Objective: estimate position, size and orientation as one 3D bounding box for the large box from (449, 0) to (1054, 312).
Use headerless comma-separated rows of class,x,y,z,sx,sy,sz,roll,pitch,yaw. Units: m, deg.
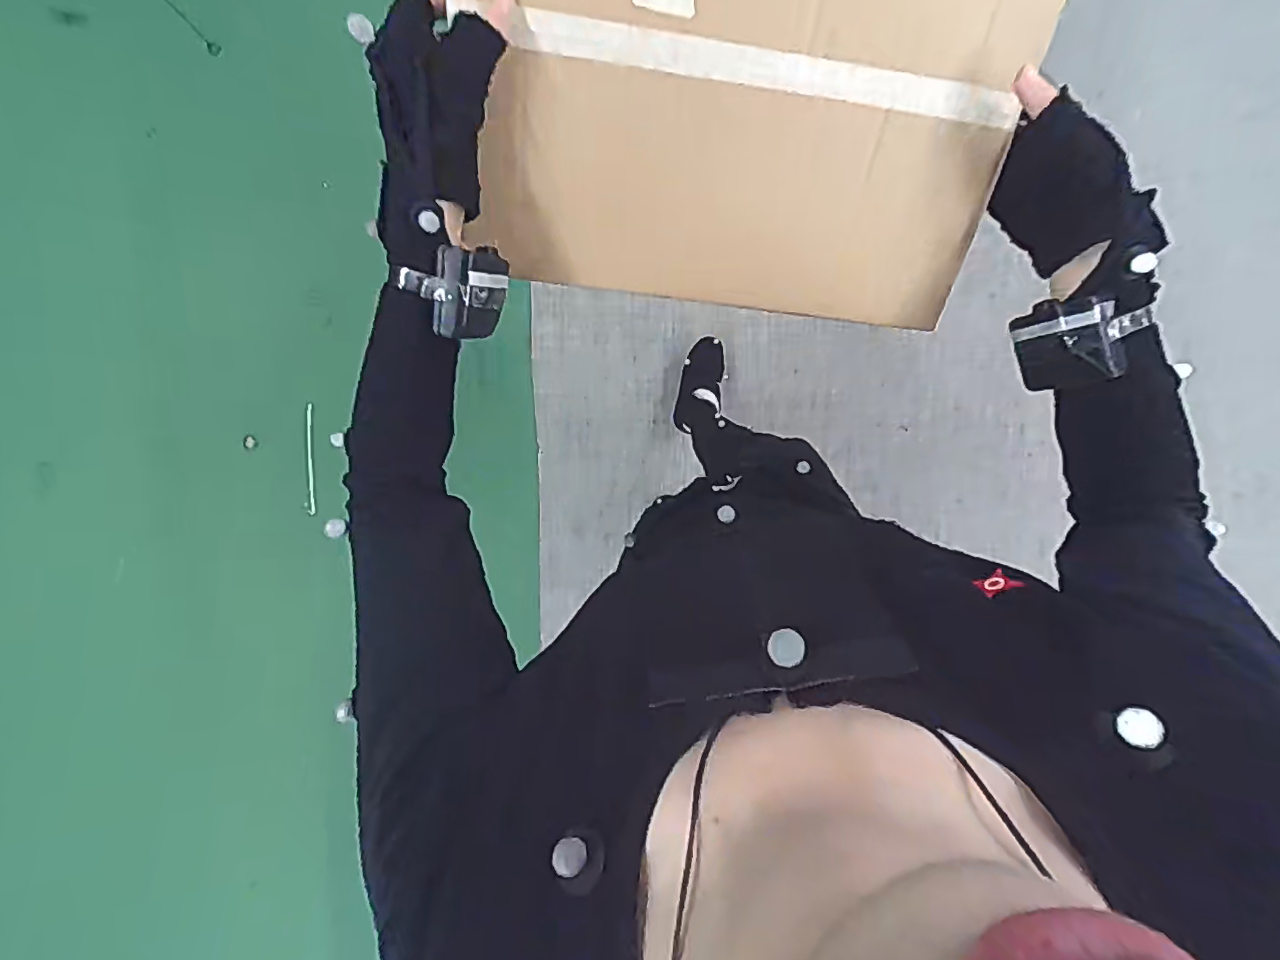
large box,0.070,-0.365,0.499,0.408,0.320,0.320,6,118,-4
